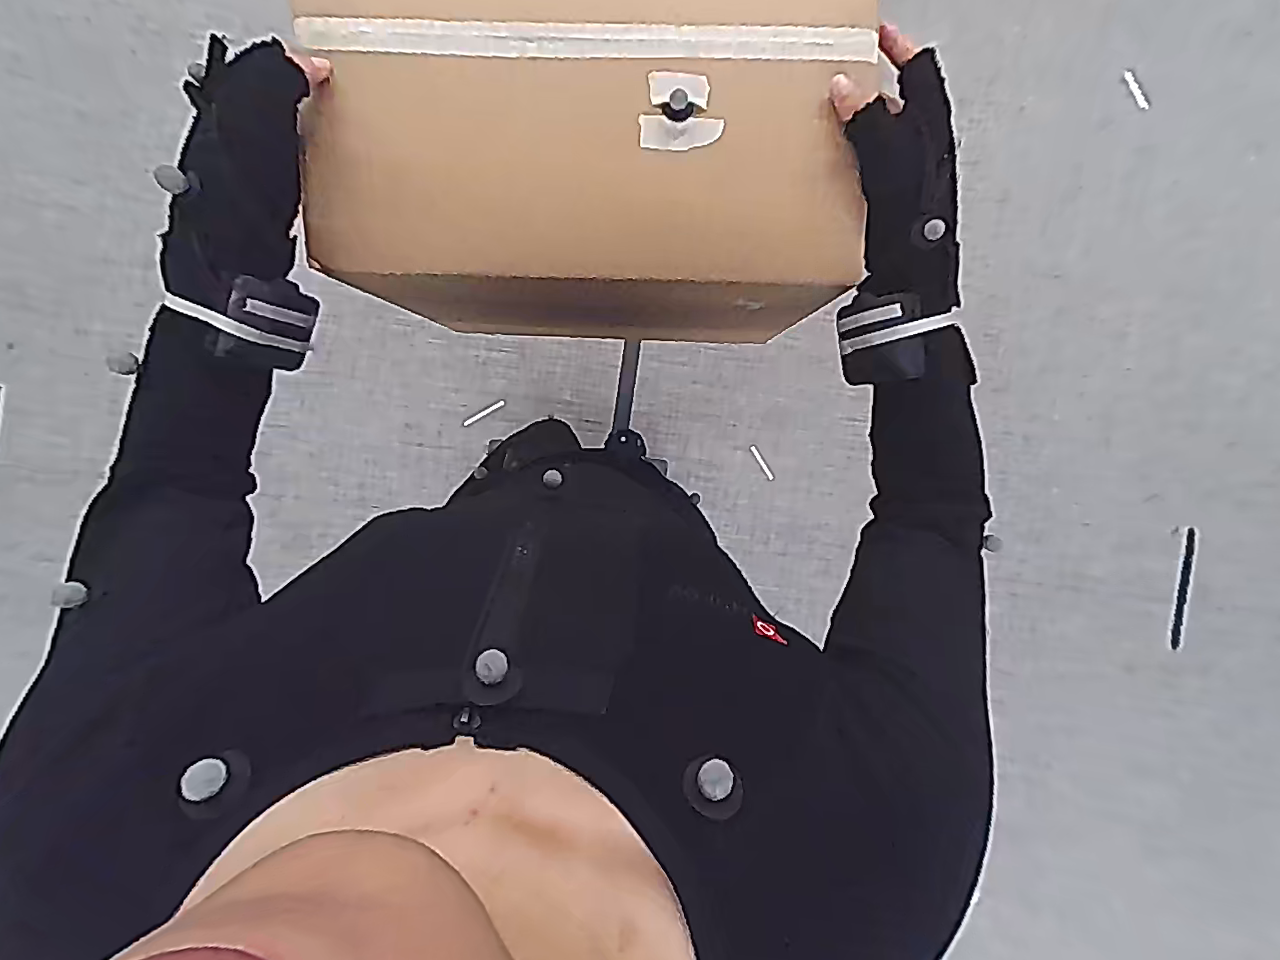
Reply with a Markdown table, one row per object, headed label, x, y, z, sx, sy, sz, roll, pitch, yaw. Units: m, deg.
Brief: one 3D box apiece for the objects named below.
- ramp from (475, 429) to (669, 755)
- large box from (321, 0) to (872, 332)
| label | x | y | z | sx | sy | sz | roll | pitch | yaw |
| --- | --- | --- | --- | --- | --- | --- | --- | --- | --- |
| ramp | -0.216 | 0.366 | 1.591 | 0.509 | 0.206 | 0.991 | 5 | 94 | -3 |
| large box | -0.034 | -0.330 | 0.539 | 0.408 | 0.320 | 0.320 | 2 | 97 | 0 |
